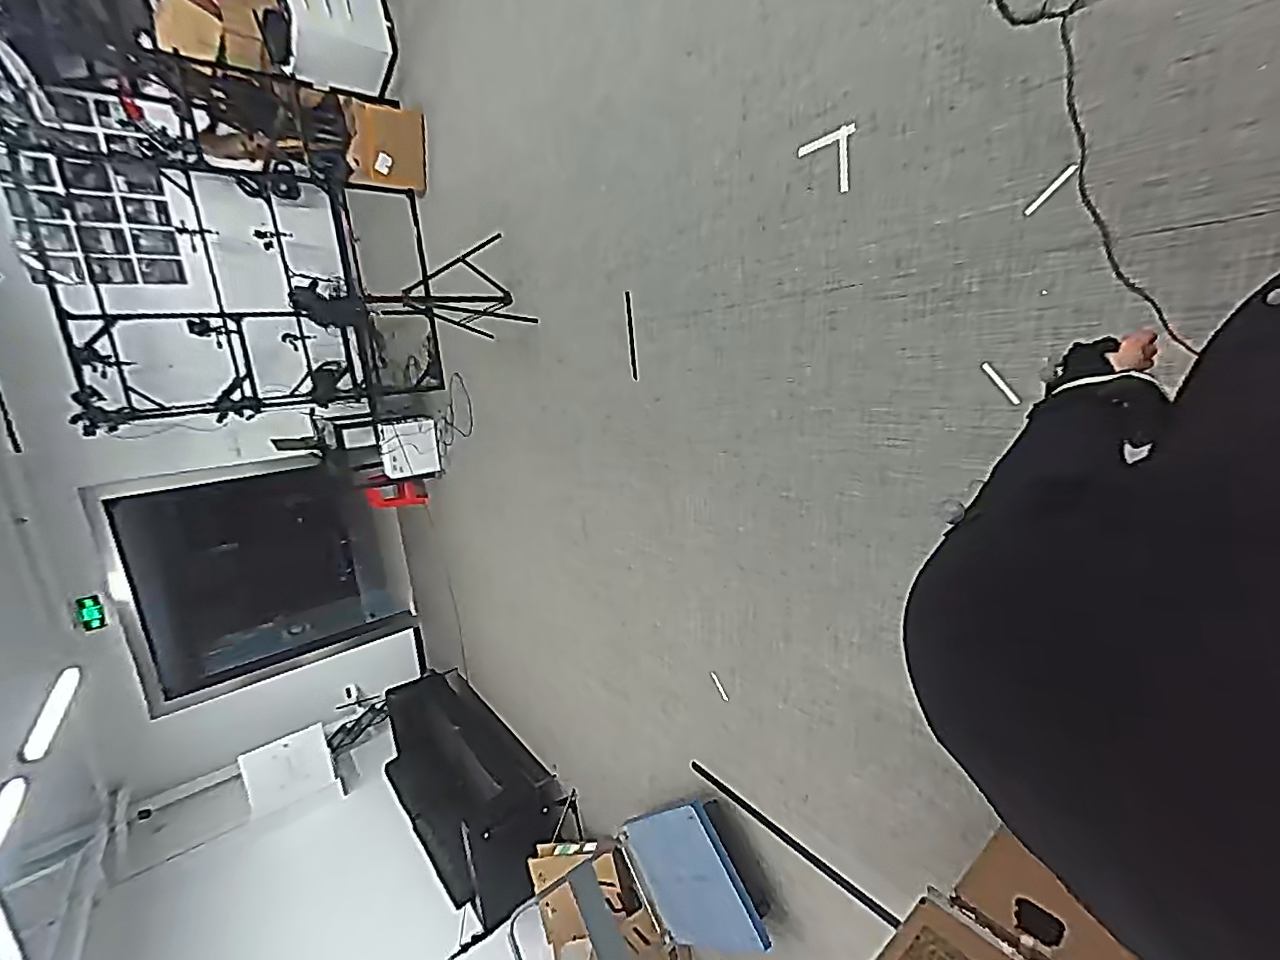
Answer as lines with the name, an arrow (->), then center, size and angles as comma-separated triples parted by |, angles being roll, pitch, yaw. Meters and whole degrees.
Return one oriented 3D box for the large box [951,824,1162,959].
large box -> 0.960, 1.142, 1.265 | 0.320, 0.320, 0.408 | 11, 109, 52
